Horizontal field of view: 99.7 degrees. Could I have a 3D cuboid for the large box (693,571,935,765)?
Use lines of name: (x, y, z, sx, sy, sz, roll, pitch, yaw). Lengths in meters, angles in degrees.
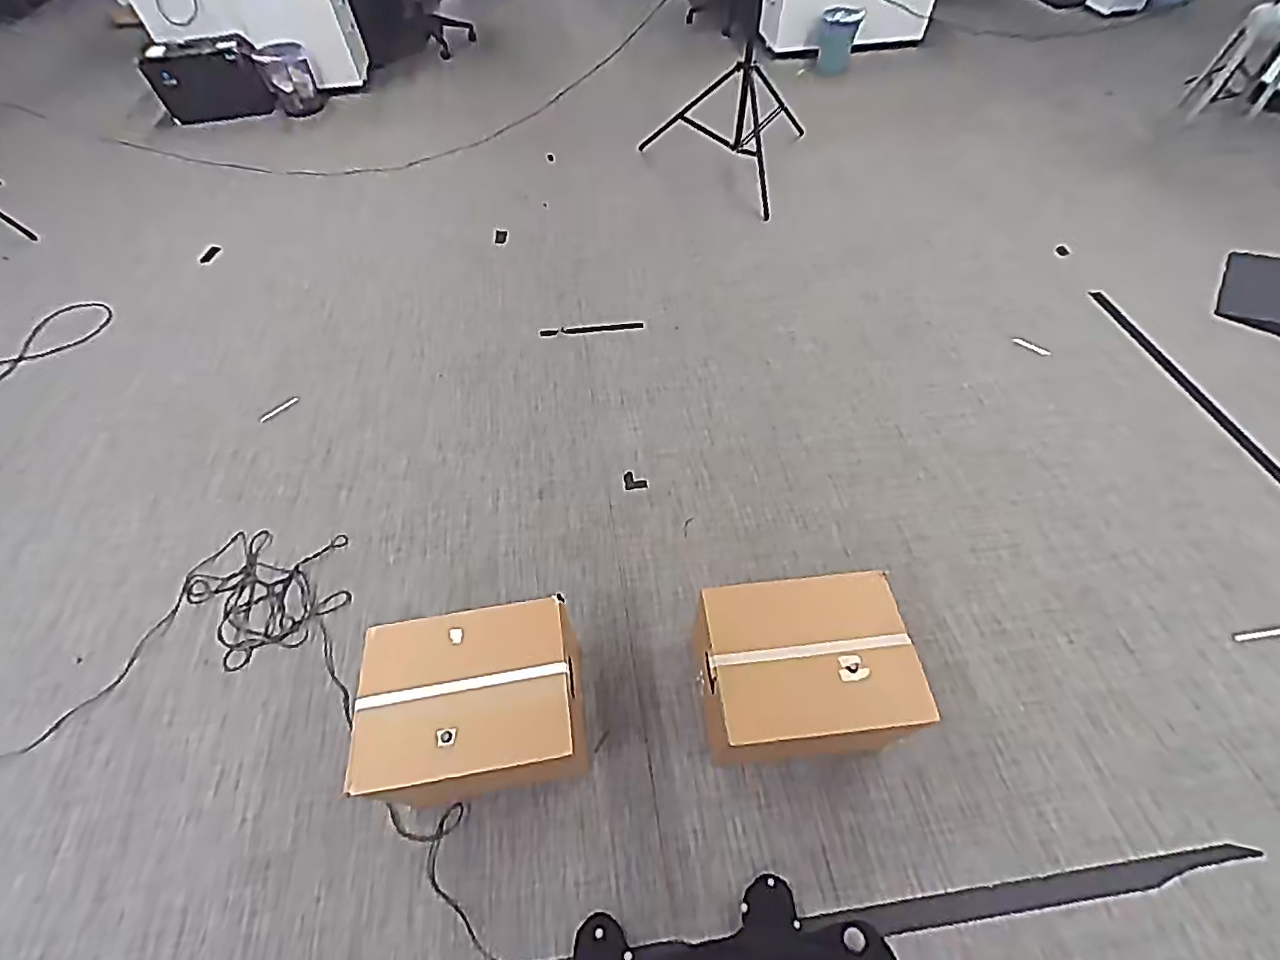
large box: (0.350, 0.429, 1.220, 0.408, 0.320, 0.320, -5, 56, -3)
